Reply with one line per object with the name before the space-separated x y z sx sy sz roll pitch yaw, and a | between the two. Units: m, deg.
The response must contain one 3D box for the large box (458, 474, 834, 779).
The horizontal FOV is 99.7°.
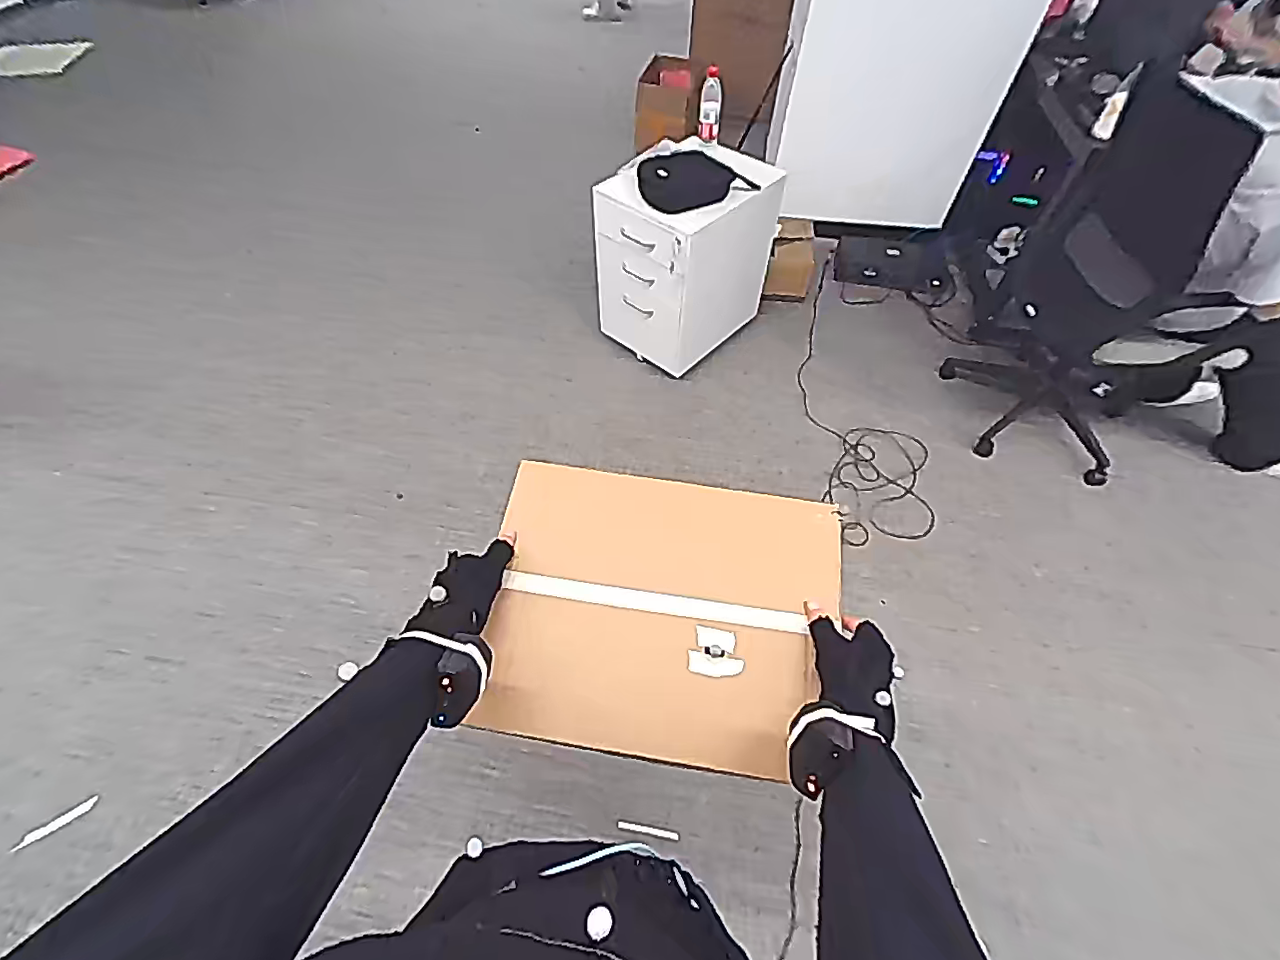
large box | 0.018 0.216 0.759 0.408 0.320 0.320 8 63 3
